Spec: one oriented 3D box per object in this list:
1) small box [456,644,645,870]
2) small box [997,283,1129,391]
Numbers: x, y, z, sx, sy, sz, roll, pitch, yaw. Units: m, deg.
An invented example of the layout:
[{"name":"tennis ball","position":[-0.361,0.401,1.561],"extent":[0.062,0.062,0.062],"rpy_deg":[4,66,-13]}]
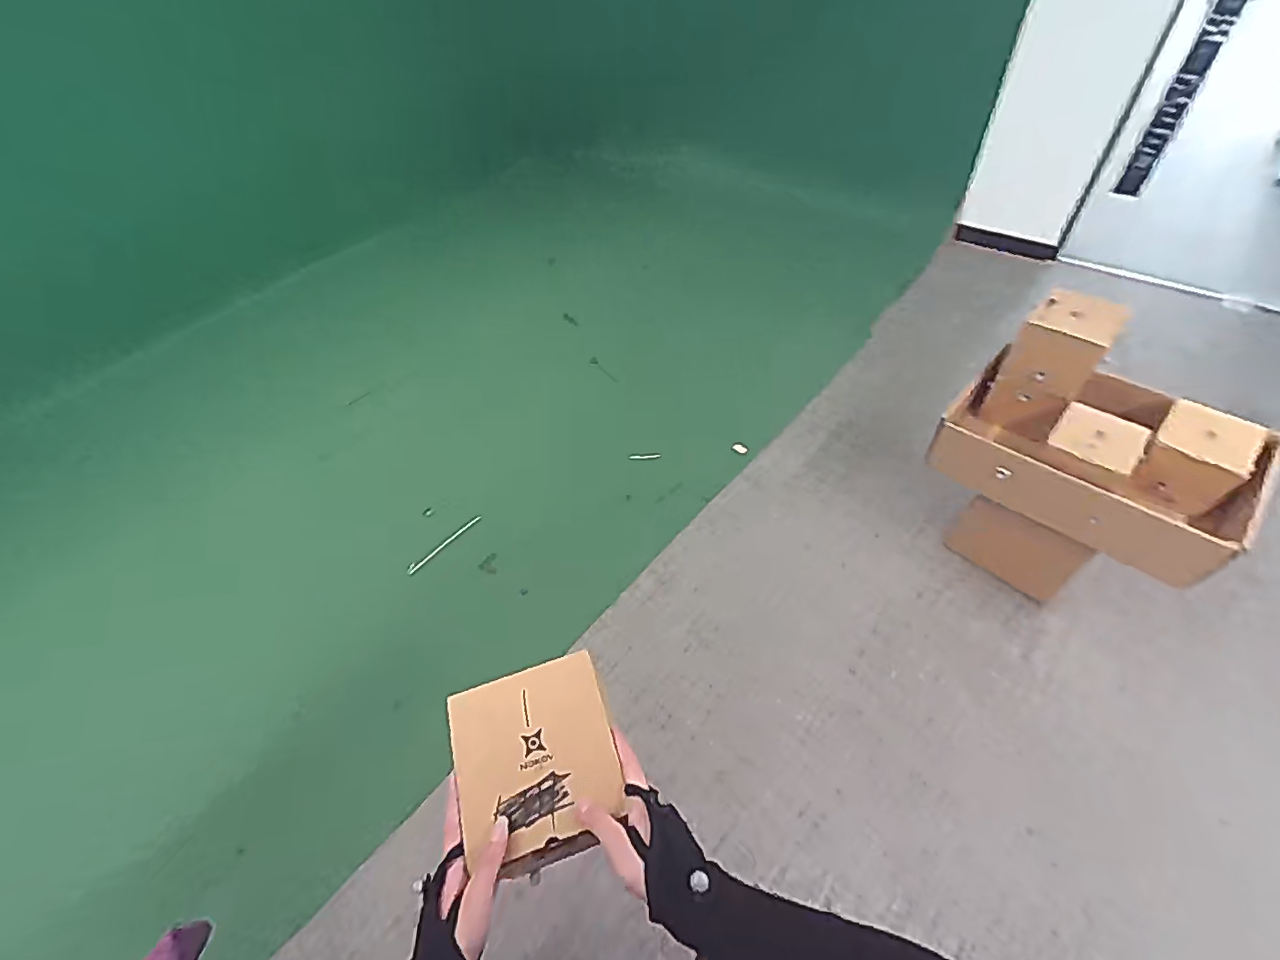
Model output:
[{"name":"small box","position":[-0.098,0.323,0.629],"extent":[0.168,0.176,0.179],"rpy_deg":[-17,54,-8]},{"name":"small box","position":[1.029,-0.345,1.327],"extent":[0.179,0.176,0.168],"rpy_deg":[34,64,29]}]
